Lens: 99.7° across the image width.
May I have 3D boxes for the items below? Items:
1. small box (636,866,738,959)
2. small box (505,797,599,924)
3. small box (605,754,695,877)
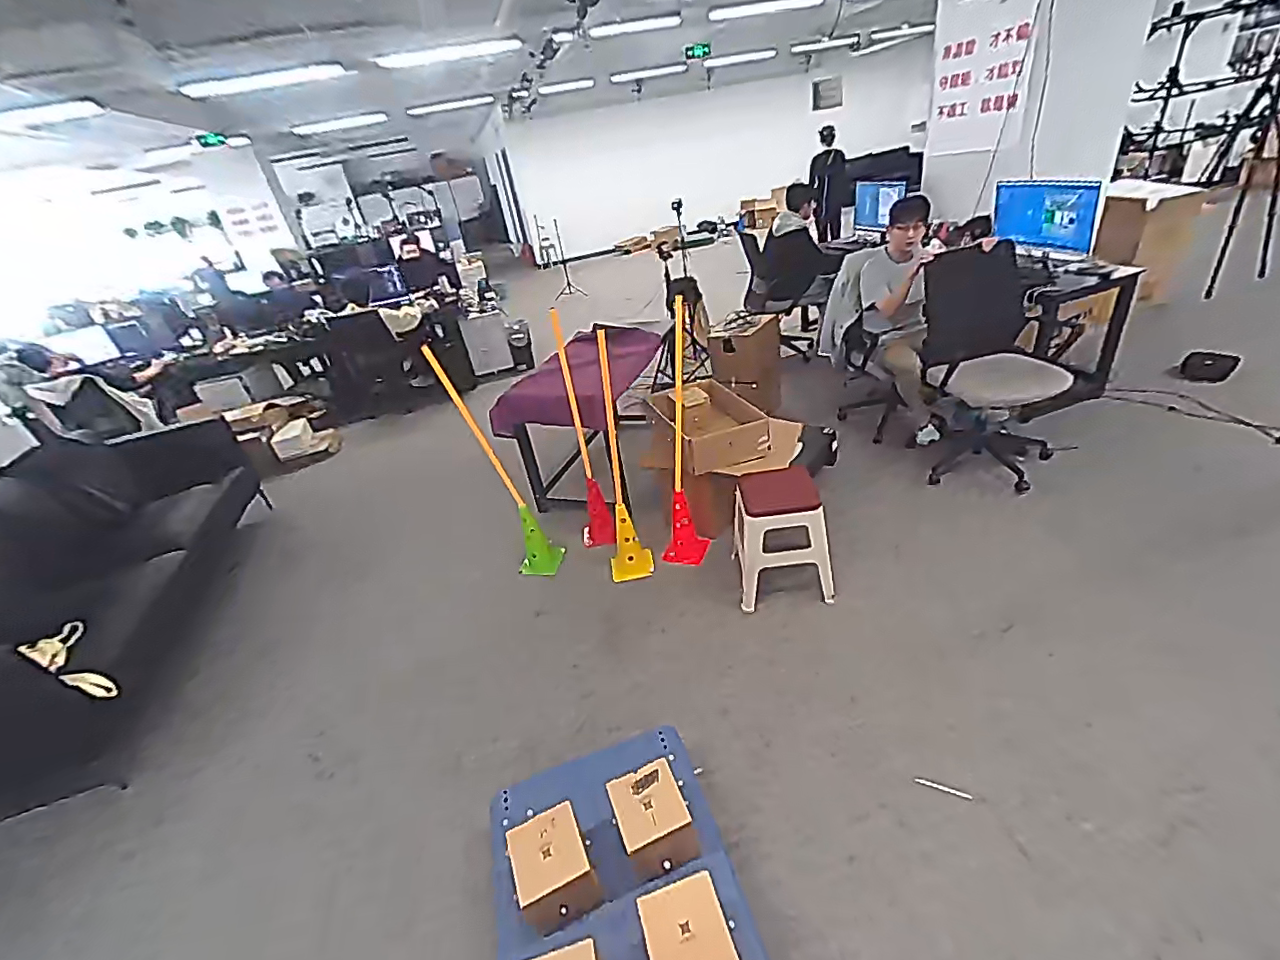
[{"bbox_3d":[0.101,0.968,1.132,0.168,0.176,0.179,-16,32,-9],"label":"small box"},{"bbox_3d":[-0.210,0.921,1.301,0.168,0.176,0.179,-19,33,-15],"label":"small box"},{"bbox_3d":[0.026,0.841,1.357,0.168,0.176,0.179,-19,33,-12],"label":"small box"}]
